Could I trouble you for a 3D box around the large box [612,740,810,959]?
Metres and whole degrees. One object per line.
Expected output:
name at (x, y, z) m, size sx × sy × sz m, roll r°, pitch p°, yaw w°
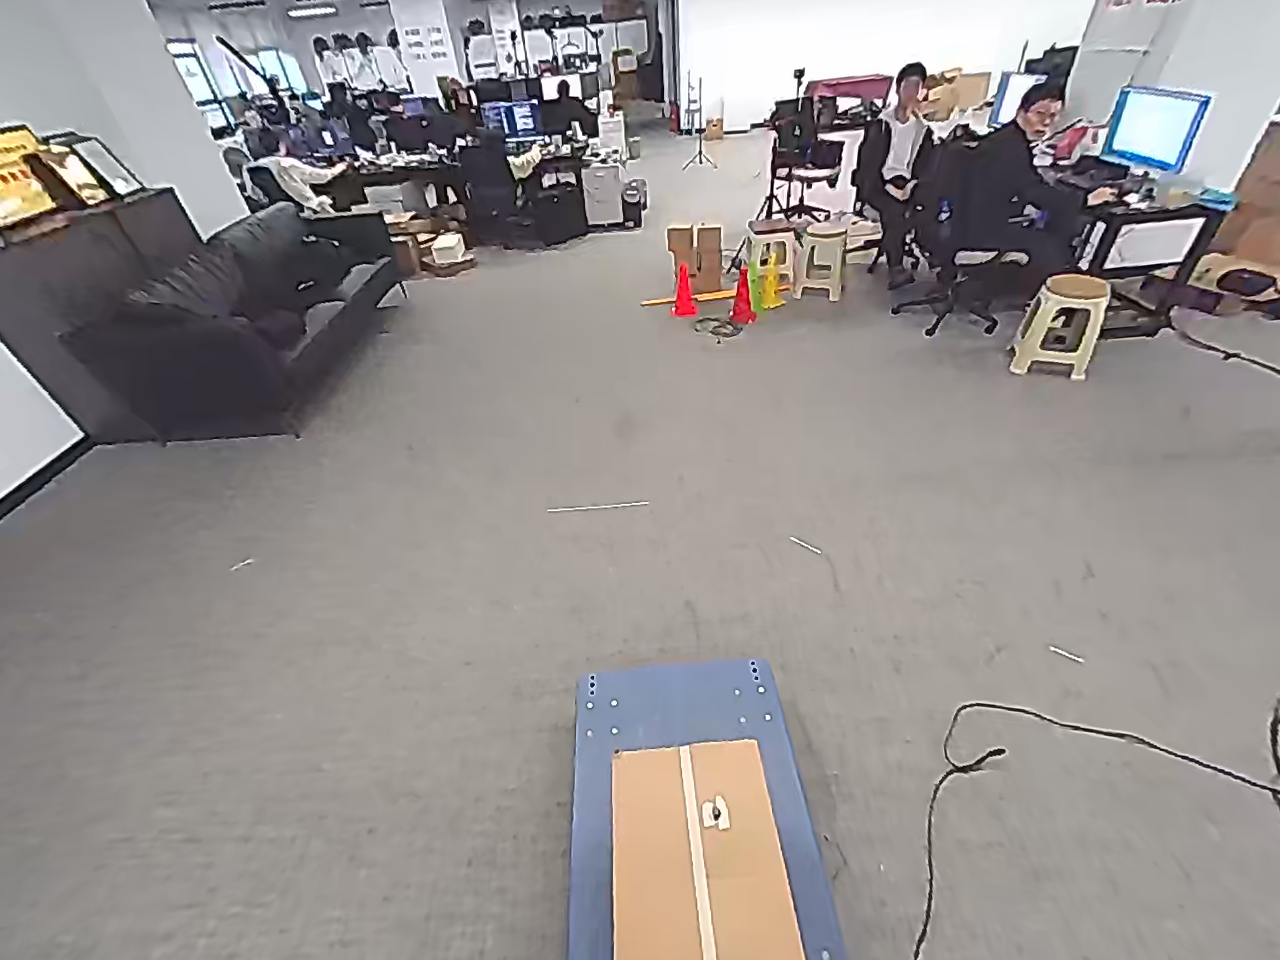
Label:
large box at (0.121, 0.805, 1.082) m, size 0.320 × 0.320 × 0.408 m, roll -6°, pitch 39°, yaw 0°
